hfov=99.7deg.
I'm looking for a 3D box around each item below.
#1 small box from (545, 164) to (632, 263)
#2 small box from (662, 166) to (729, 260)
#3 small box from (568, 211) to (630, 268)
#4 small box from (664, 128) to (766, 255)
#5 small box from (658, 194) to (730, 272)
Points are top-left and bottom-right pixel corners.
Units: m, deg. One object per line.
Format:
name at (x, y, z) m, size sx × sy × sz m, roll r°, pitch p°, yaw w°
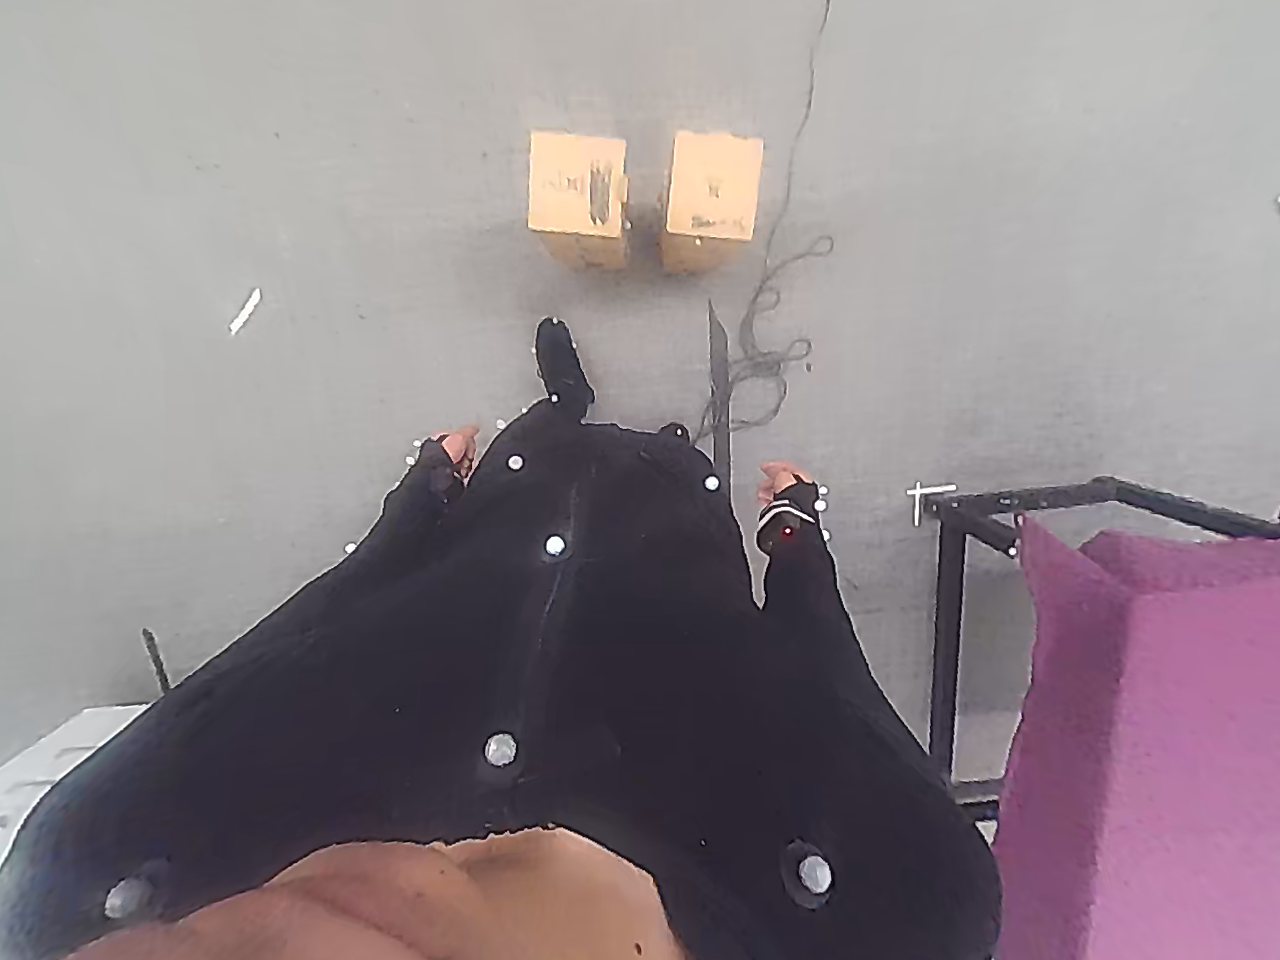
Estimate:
small box at (-0.113, -0.596, 1.229) m, size 0.179 × 0.176 × 0.168 m, roll 5°, pitch 104°, yaw -2°
small box at (0.140, -0.605, 1.237) m, size 0.179 × 0.176 × 0.168 m, roll -2°, pitch 104°, yaw 0°
small box at (-0.110, -0.650, 1.385) m, size 0.168 × 0.176 × 0.179 m, roll 1°, pitch 104°, yaw -1°
small box at (0.140, -0.564, 1.078) m, size 0.168 × 0.176 × 0.179 m, roll 5°, pitch 103°, yaw -2°
small box at (0.136, -0.645, 1.394) m, size 0.168 × 0.176 × 0.179 m, roll -4°, pitch 104°, yaw 0°
